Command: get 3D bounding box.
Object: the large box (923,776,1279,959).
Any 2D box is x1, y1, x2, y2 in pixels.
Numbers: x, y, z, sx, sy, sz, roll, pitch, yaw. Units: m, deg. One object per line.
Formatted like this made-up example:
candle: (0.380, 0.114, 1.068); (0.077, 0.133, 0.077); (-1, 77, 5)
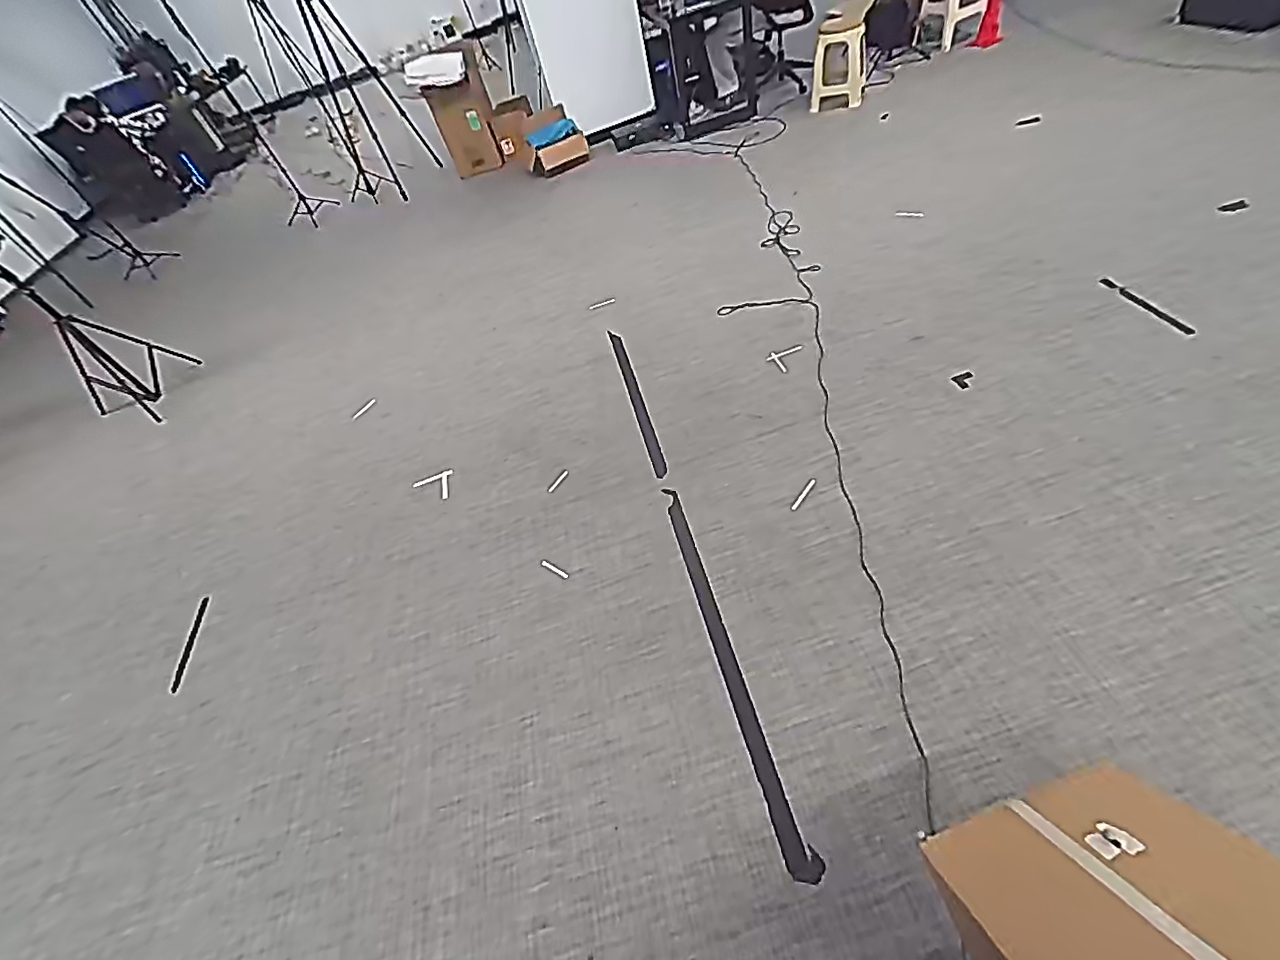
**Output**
large box: (0.619, 0.624, 0.607); (0.320, 0.408, 0.320); (-22, 84, 0)
